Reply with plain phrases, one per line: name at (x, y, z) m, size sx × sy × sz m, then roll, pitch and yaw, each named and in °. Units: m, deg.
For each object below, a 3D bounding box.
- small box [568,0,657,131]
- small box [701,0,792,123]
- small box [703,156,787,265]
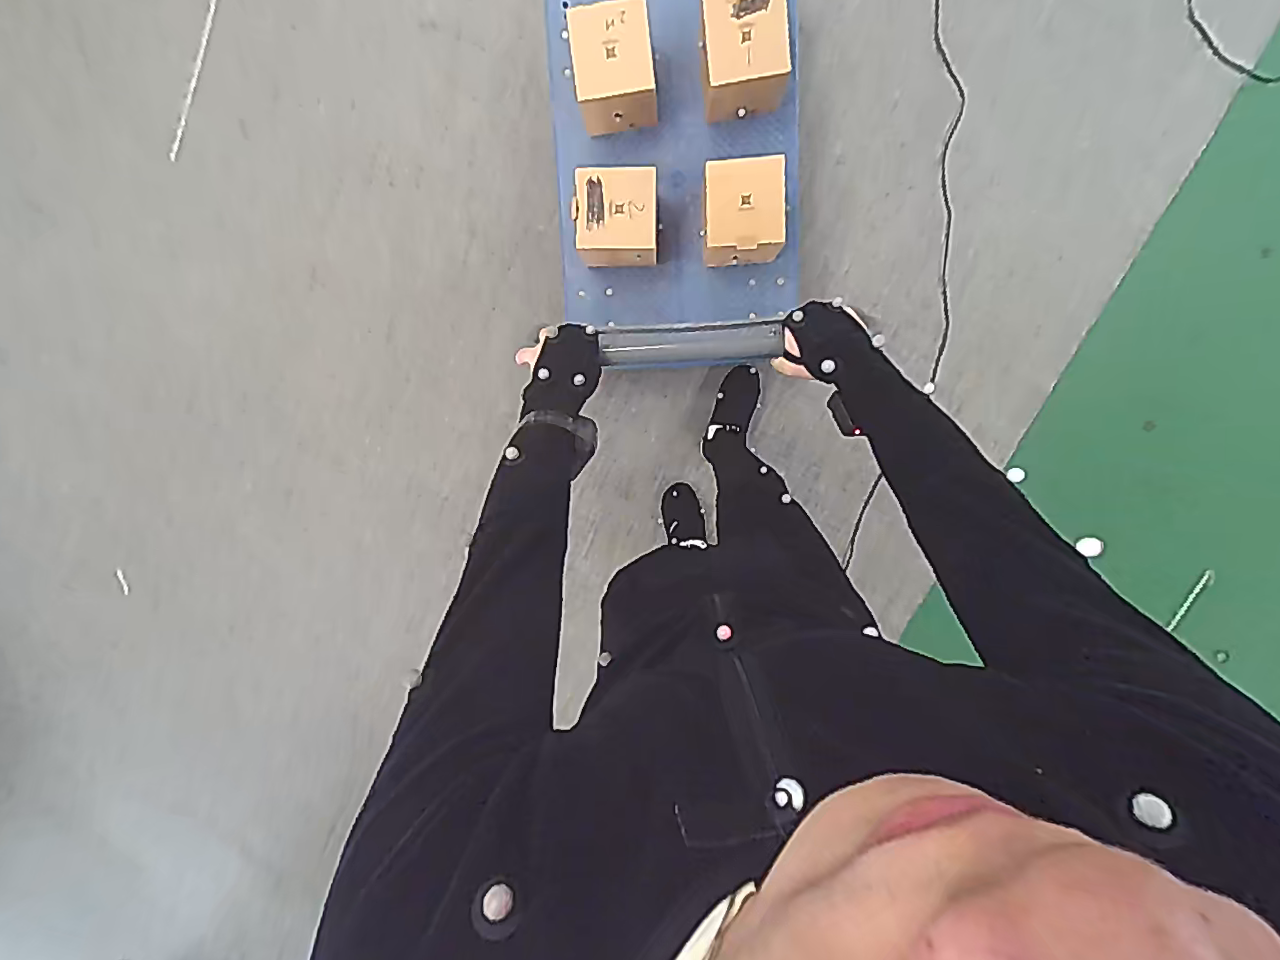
small box at (-0.052, -0.892, 1.181) m, size 0.168 × 0.176 × 0.179 m, roll -6°, pitch 99°, yaw 4°
small box at (0.223, -0.909, 1.162) m, size 0.168 × 0.176 × 0.179 m, roll -6°, pitch 100°, yaw 5°
small box at (0.230, -0.596, 1.216) m, size 0.168 × 0.176 × 0.179 m, roll -3°, pitch 100°, yaw 4°
